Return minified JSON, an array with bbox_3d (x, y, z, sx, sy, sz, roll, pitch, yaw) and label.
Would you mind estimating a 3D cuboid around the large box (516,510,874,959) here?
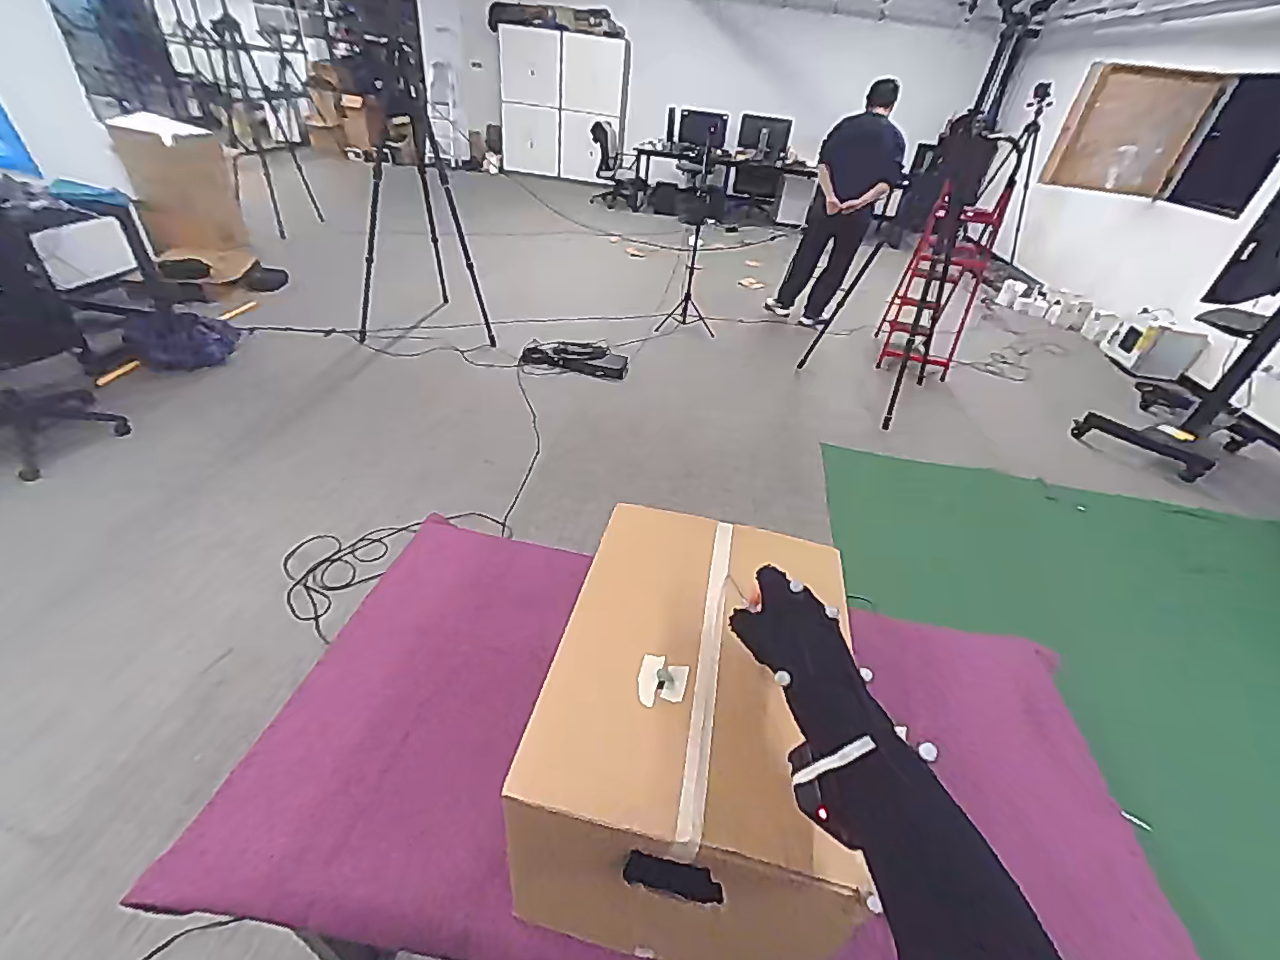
[{"bbox_3d":[0.060,0.304,0.691,0.320,0.320,0.408,12,37,6],"label":"large box"}]
